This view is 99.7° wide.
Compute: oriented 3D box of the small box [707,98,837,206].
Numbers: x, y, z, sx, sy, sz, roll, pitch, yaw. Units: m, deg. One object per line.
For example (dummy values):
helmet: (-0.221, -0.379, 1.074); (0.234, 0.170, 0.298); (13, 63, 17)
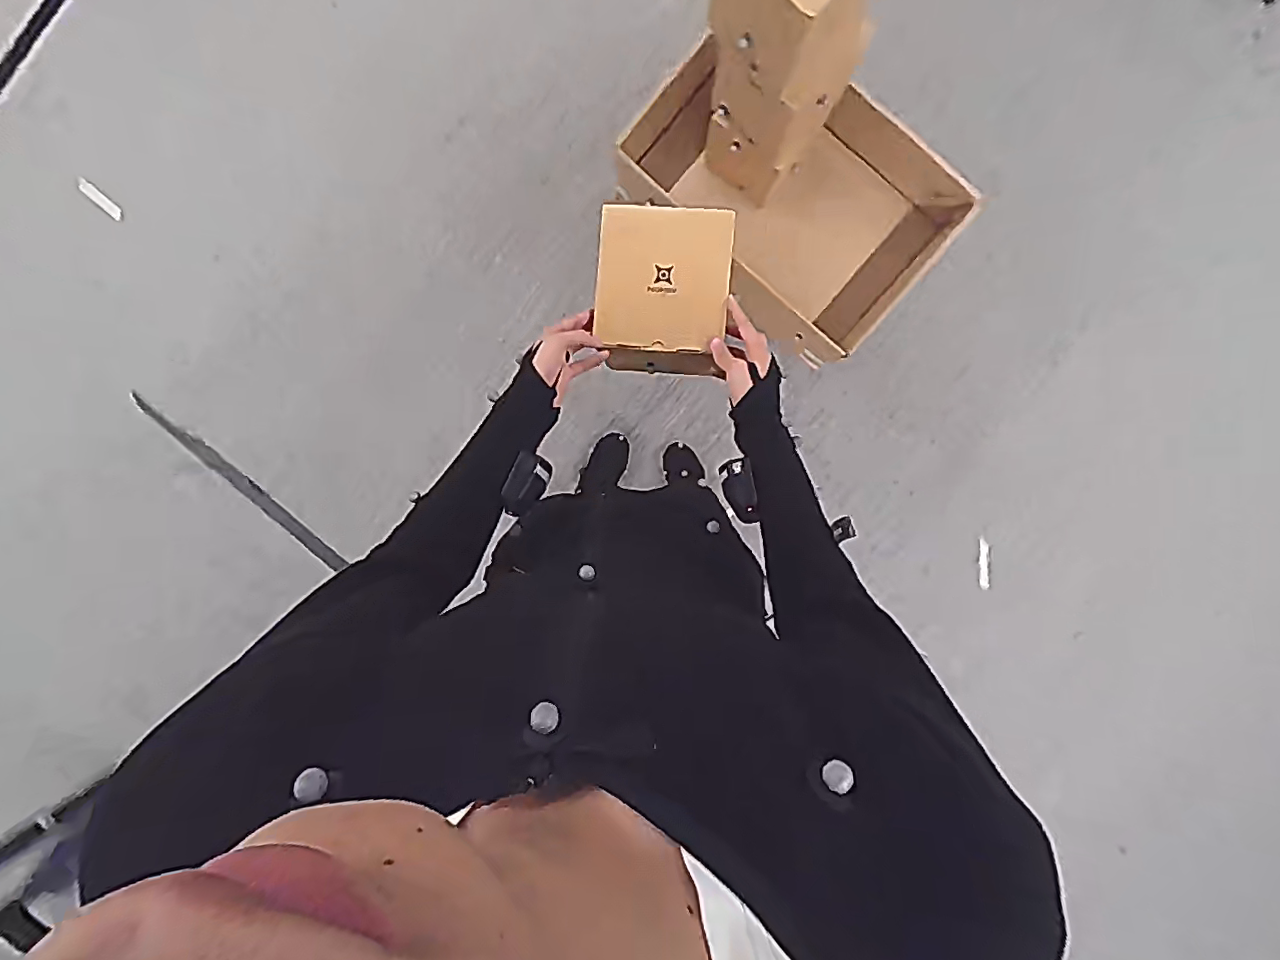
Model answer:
small box: (0.251, -0.700, 1.084); (0.168, 0.176, 0.179); (39, 93, -2)

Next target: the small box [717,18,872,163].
small box: (0.247, -0.692, 0.919); (0.168, 0.176, 0.179); (45, 93, -3)

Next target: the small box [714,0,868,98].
small box: (0.222, -0.699, 0.754); (0.179, 0.176, 0.168); (-44, 93, 4)

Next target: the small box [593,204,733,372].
small box: (0.031, -0.253, 0.748); (0.168, 0.176, 0.179); (3, 93, 3)
